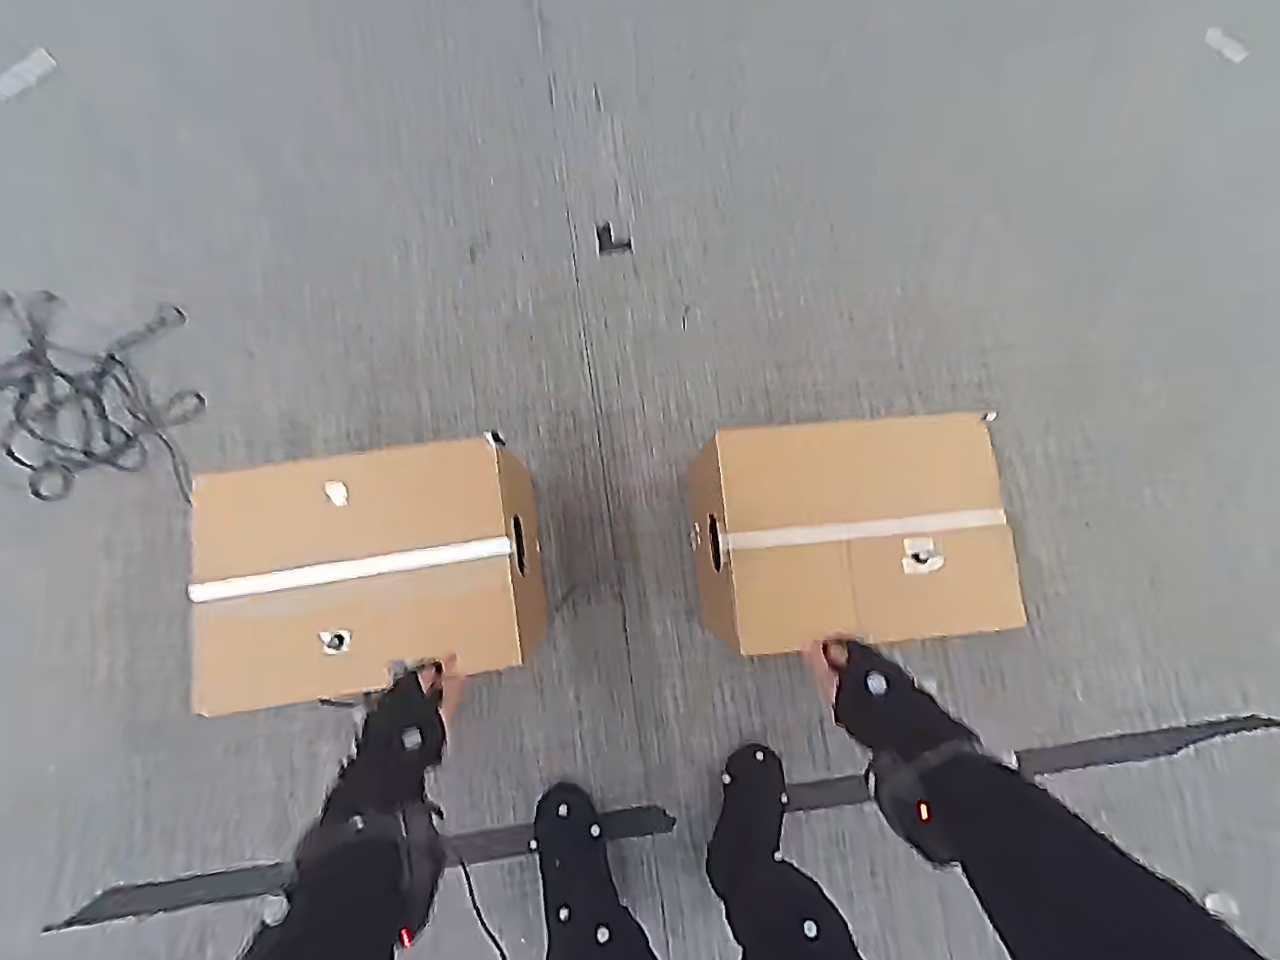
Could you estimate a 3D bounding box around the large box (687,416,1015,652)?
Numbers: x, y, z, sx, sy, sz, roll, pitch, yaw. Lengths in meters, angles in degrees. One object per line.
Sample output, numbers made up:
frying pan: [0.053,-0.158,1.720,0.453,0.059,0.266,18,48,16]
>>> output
large box: [0.313,0.097,0.923,0.408,0.320,0.320,-4,81,-4]
